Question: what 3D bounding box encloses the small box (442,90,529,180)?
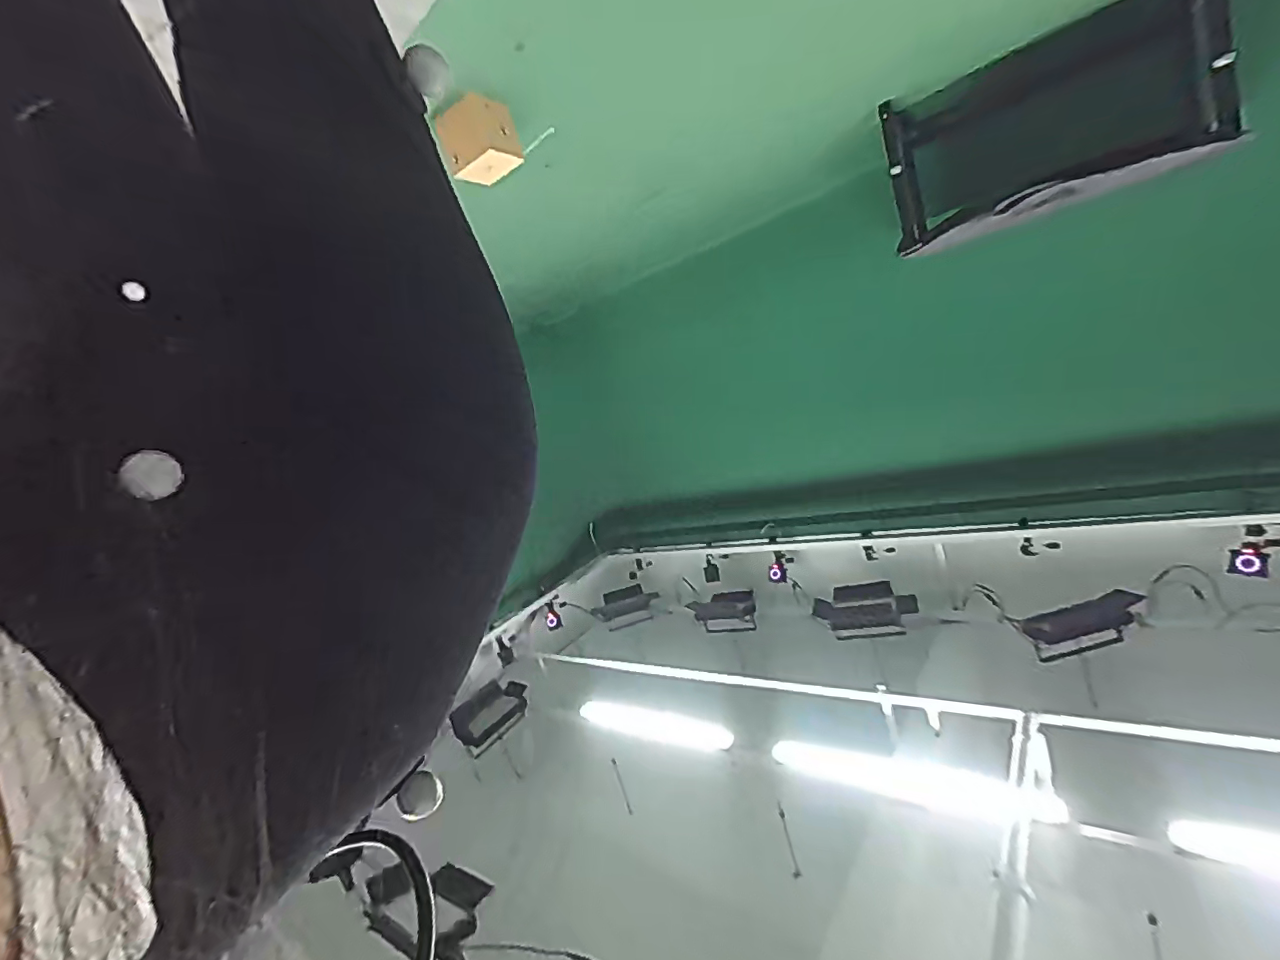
[{"bbox_3d":[-0.483,-1.071,1.685,0.179,0.176,0.168,-11,-168,34],"label":"small box"}]
